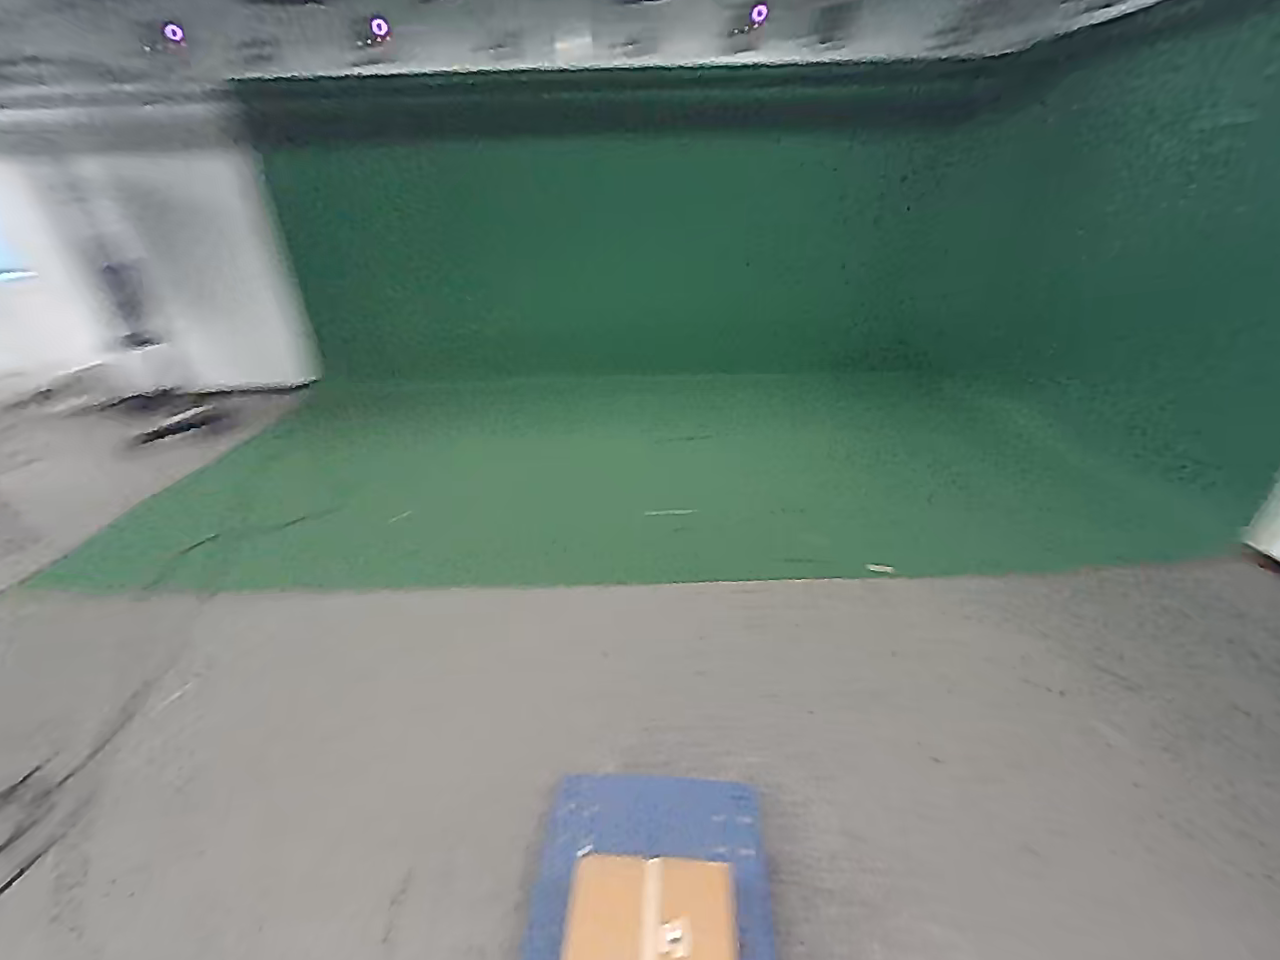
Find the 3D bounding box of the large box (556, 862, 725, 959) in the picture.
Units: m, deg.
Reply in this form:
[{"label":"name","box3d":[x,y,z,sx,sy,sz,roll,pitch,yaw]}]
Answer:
[{"label":"large box","box3d":[0.002,1.020,1.013,0.320,0.320,0.408,1,27,3]}]
